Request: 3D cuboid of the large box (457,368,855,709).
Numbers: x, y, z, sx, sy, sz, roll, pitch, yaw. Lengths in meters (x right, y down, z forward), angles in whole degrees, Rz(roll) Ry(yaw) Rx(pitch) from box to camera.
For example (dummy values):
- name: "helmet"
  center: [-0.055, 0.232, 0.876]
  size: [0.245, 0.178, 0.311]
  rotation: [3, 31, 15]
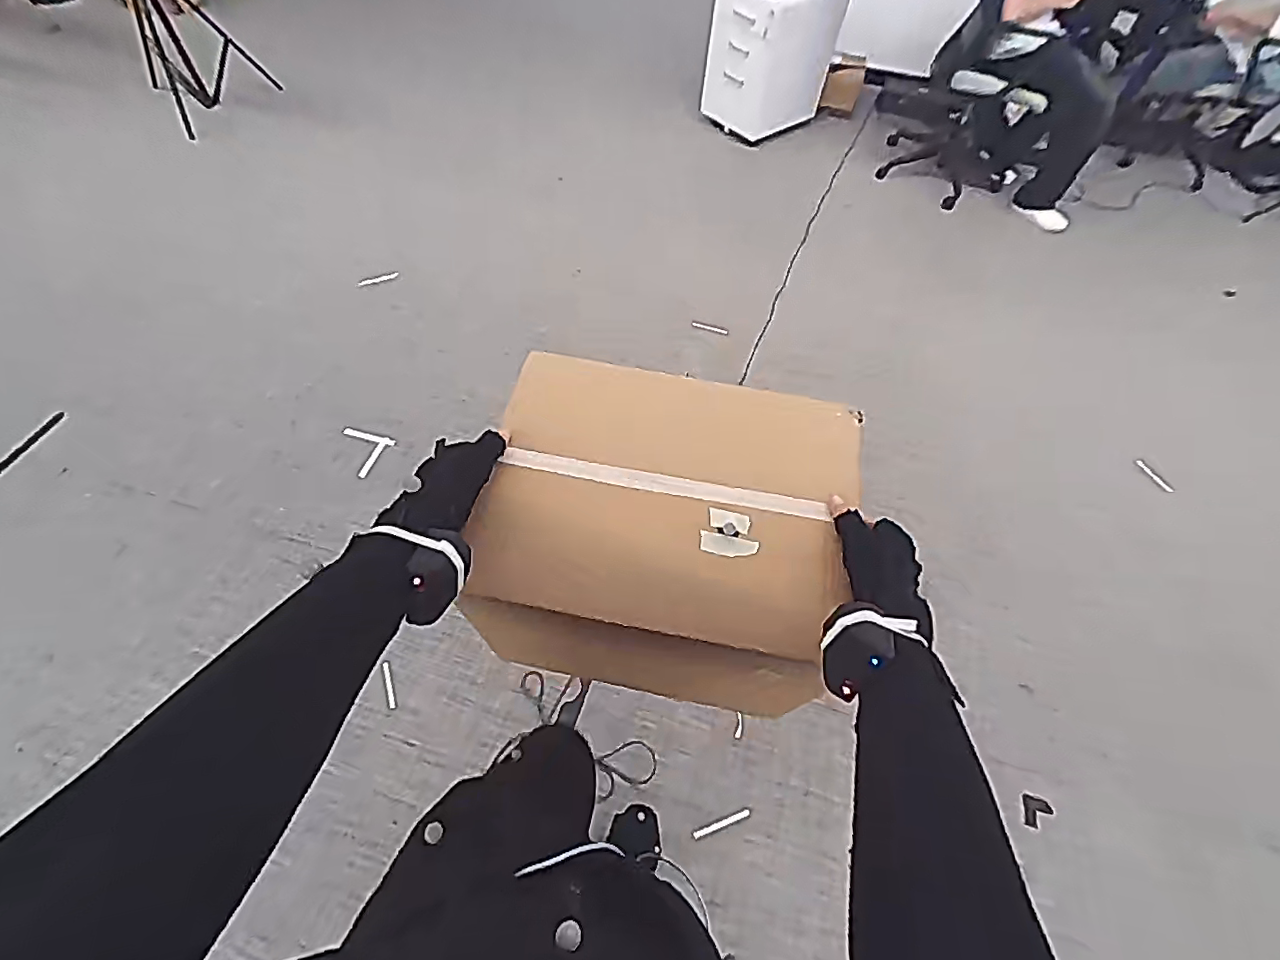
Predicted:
- name: "large box"
  center: [0.027, 0.093, 0.729]
  size: [0.408, 0.320, 0.320]
  rotation: [10, 60, 3]
